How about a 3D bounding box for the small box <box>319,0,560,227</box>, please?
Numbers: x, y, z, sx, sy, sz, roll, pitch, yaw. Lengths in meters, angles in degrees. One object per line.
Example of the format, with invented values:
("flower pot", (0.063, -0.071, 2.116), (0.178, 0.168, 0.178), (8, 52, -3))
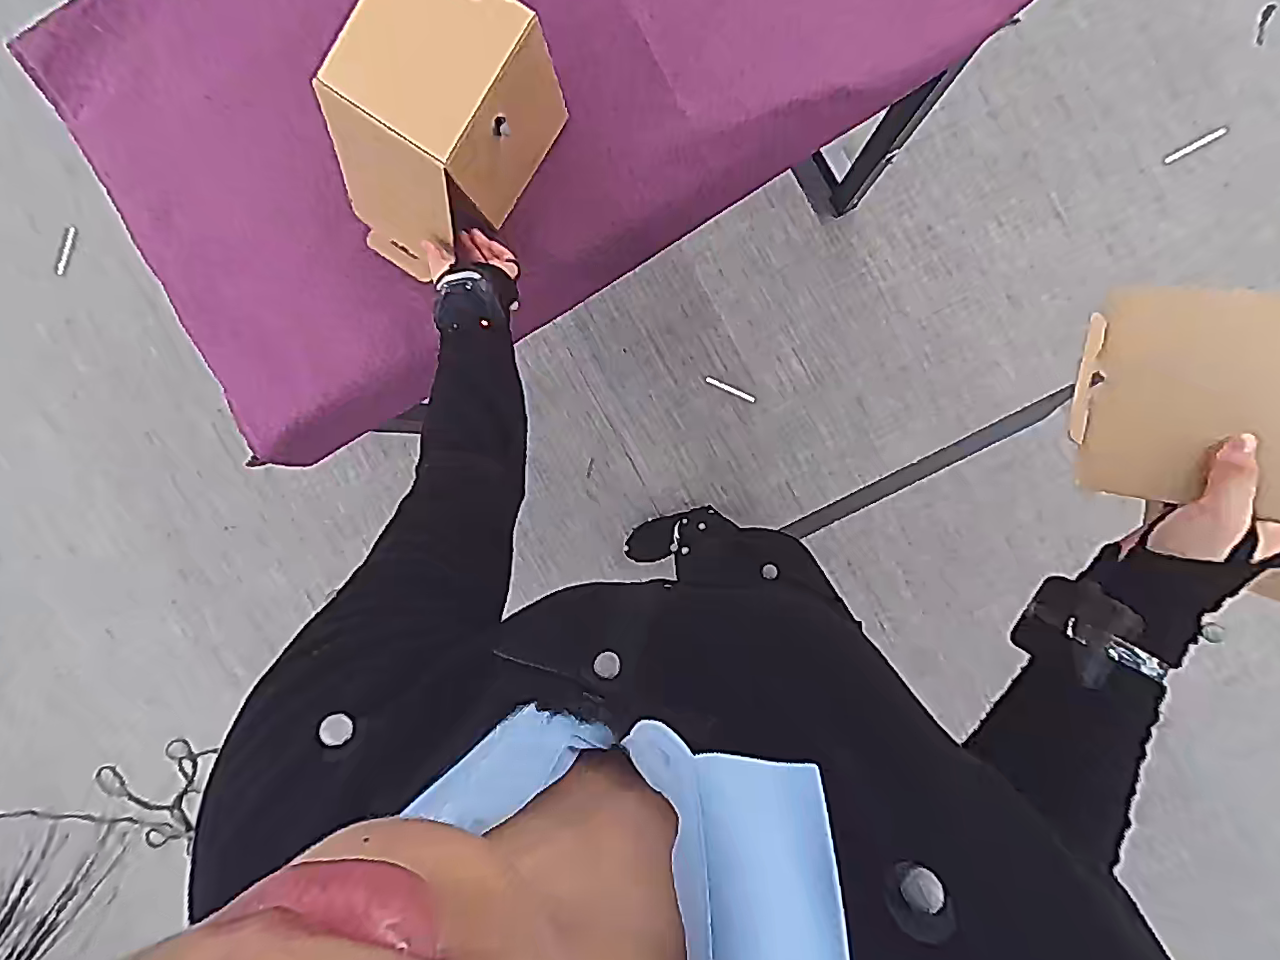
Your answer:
("small box", (-0.213, -0.434, 0.626), (0.168, 0.176, 0.179), (34, 94, 1))
